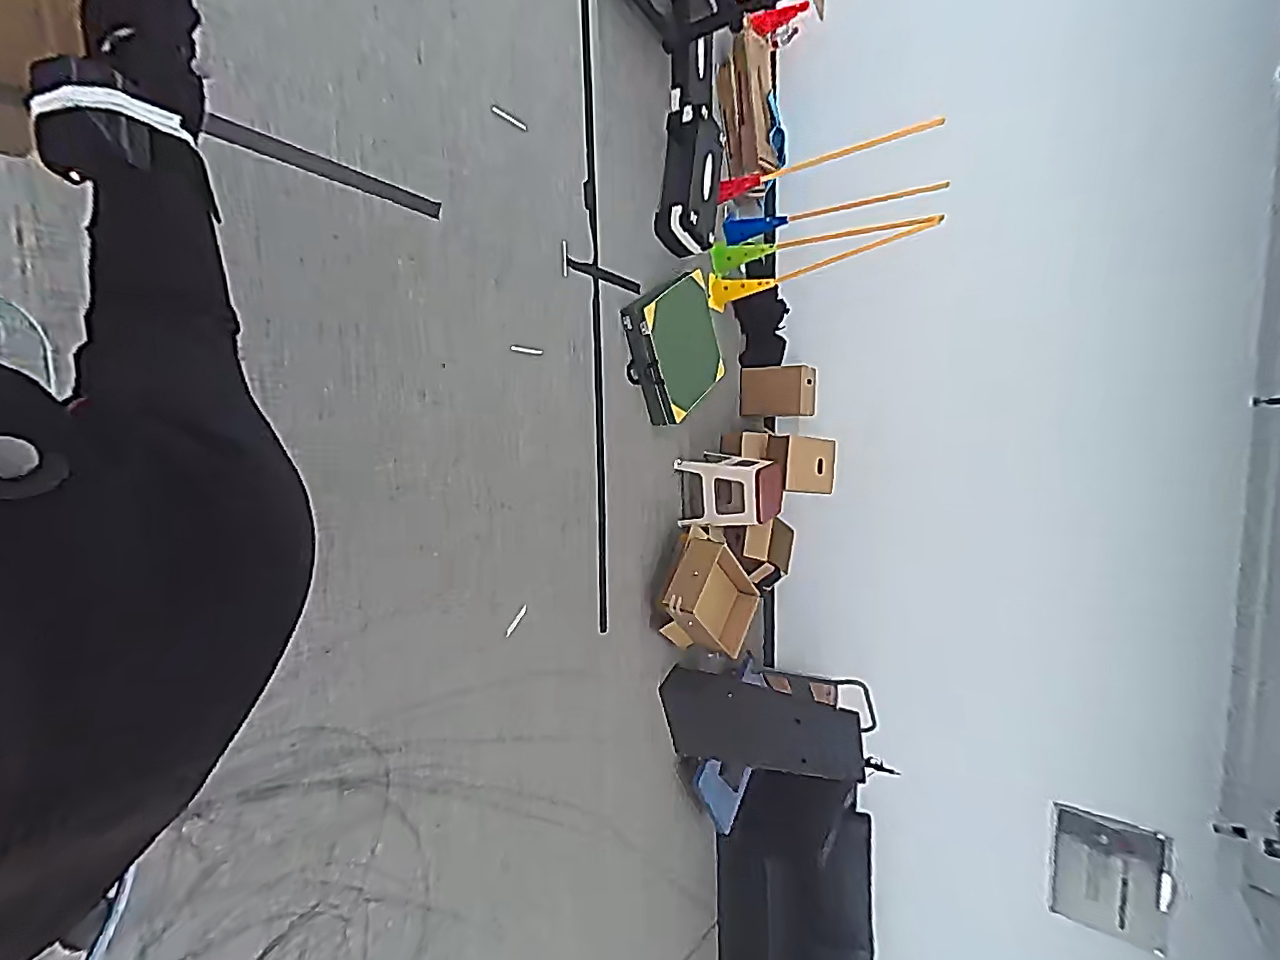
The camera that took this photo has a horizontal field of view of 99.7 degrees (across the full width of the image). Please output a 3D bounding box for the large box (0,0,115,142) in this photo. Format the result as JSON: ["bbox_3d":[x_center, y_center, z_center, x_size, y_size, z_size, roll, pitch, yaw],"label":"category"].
[{"bbox_3d":[-0.625,-0.437,0.294,0.408,0.320,0.320,-15,116,-57],"label":"large box"}]
